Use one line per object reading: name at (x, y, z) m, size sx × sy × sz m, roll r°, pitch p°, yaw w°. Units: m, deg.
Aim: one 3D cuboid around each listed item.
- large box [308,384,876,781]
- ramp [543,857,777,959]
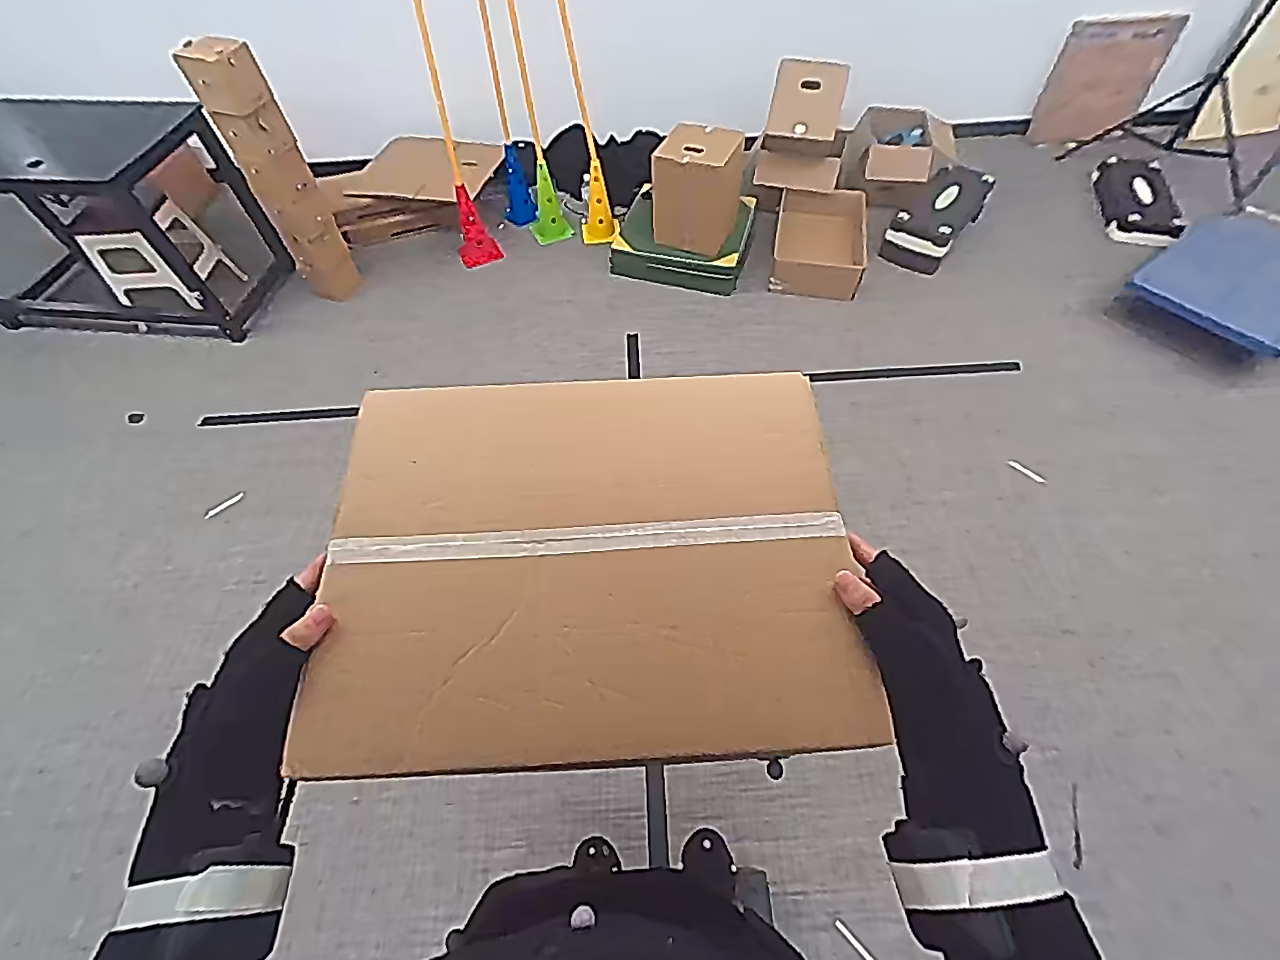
large box at (-0.037, 0.123, 0.572) m, size 0.408 × 0.320 × 0.320 m, roll -3°, pitch 62°, yaw -1°
ramp at (0.063, 1.305, 0.997) m, size 0.509 × 0.206 × 0.991 m, roll -4°, pitch 57°, yaw -2°
